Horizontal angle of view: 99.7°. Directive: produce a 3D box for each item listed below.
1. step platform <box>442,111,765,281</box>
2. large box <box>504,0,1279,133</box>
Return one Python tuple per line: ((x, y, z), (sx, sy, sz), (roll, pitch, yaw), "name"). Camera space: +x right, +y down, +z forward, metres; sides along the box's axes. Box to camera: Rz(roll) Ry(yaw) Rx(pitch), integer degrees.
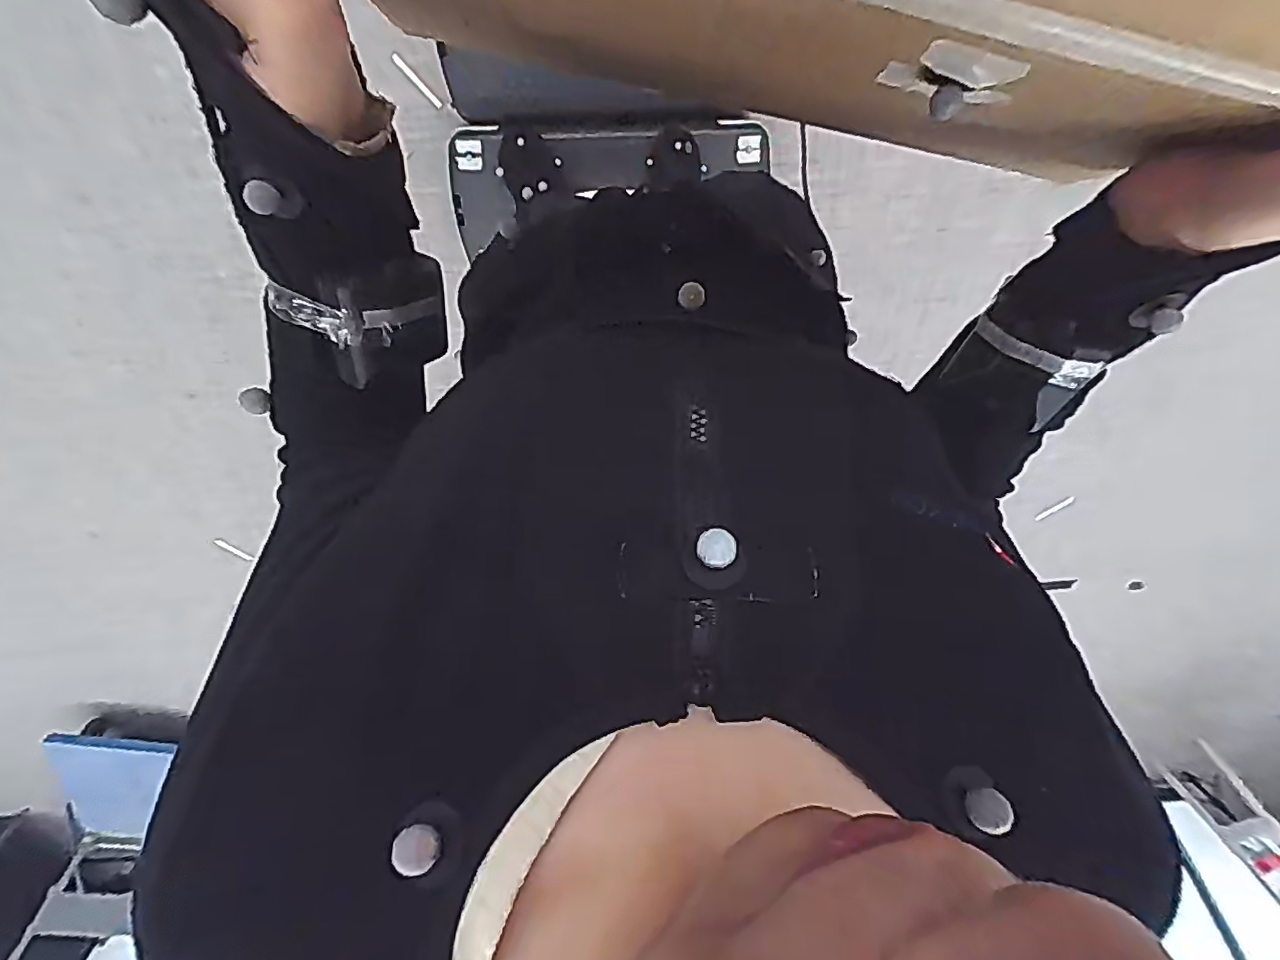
((-0.075, -0.619, 1.198), (0.684, 0.204, 0.286), (2, 124, -4), "step platform")
((0.107, -0.316, 0.099), (0.408, 0.320, 0.320), (9, 110, -4), "large box")
